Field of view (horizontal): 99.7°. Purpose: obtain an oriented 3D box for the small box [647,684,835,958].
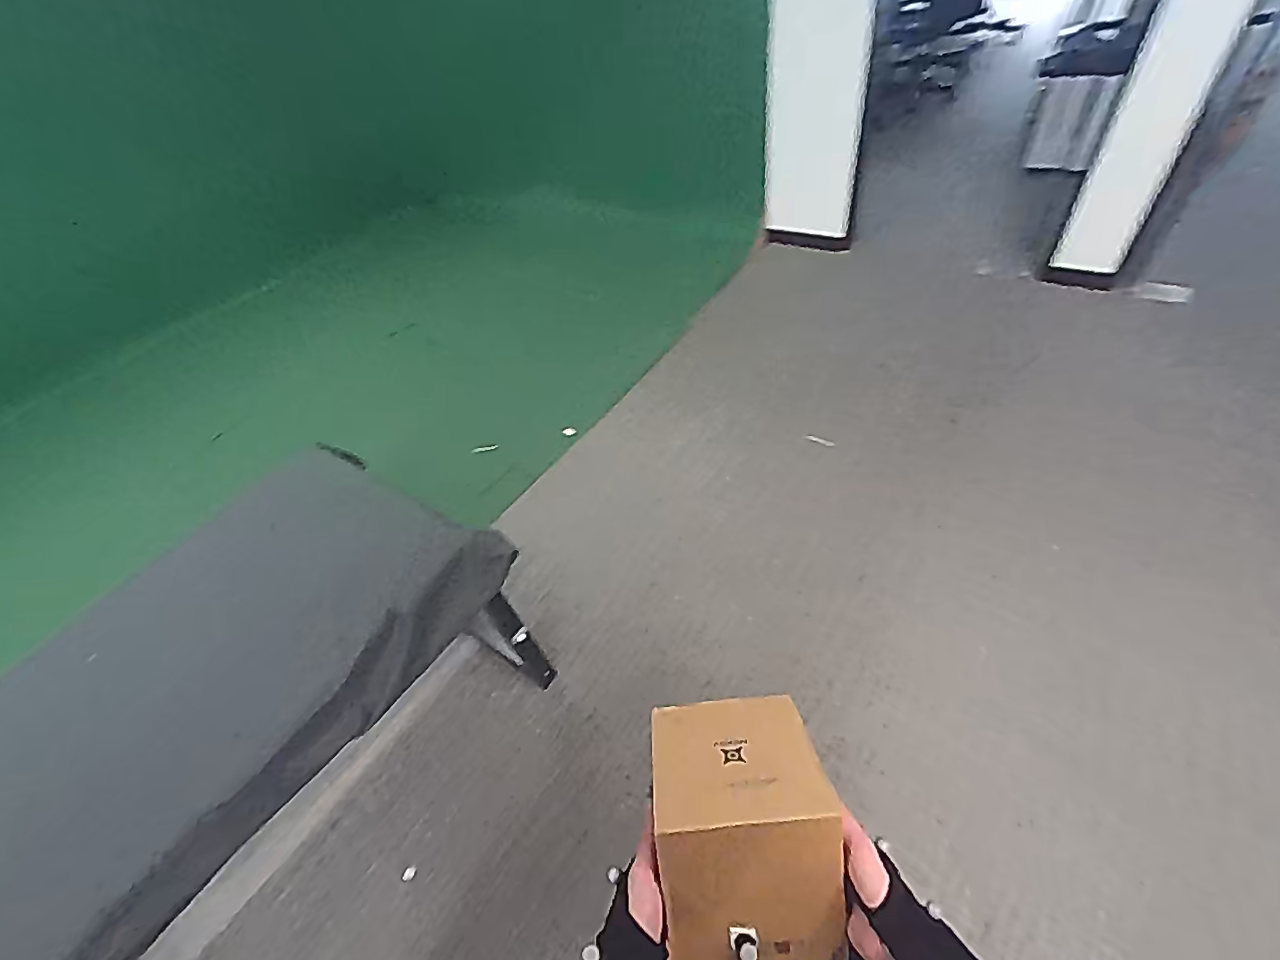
[{"bbox_3d":[0.096,0.347,0.573,0.168,0.176,0.179,-7,14,1],"label":"small box"}]
